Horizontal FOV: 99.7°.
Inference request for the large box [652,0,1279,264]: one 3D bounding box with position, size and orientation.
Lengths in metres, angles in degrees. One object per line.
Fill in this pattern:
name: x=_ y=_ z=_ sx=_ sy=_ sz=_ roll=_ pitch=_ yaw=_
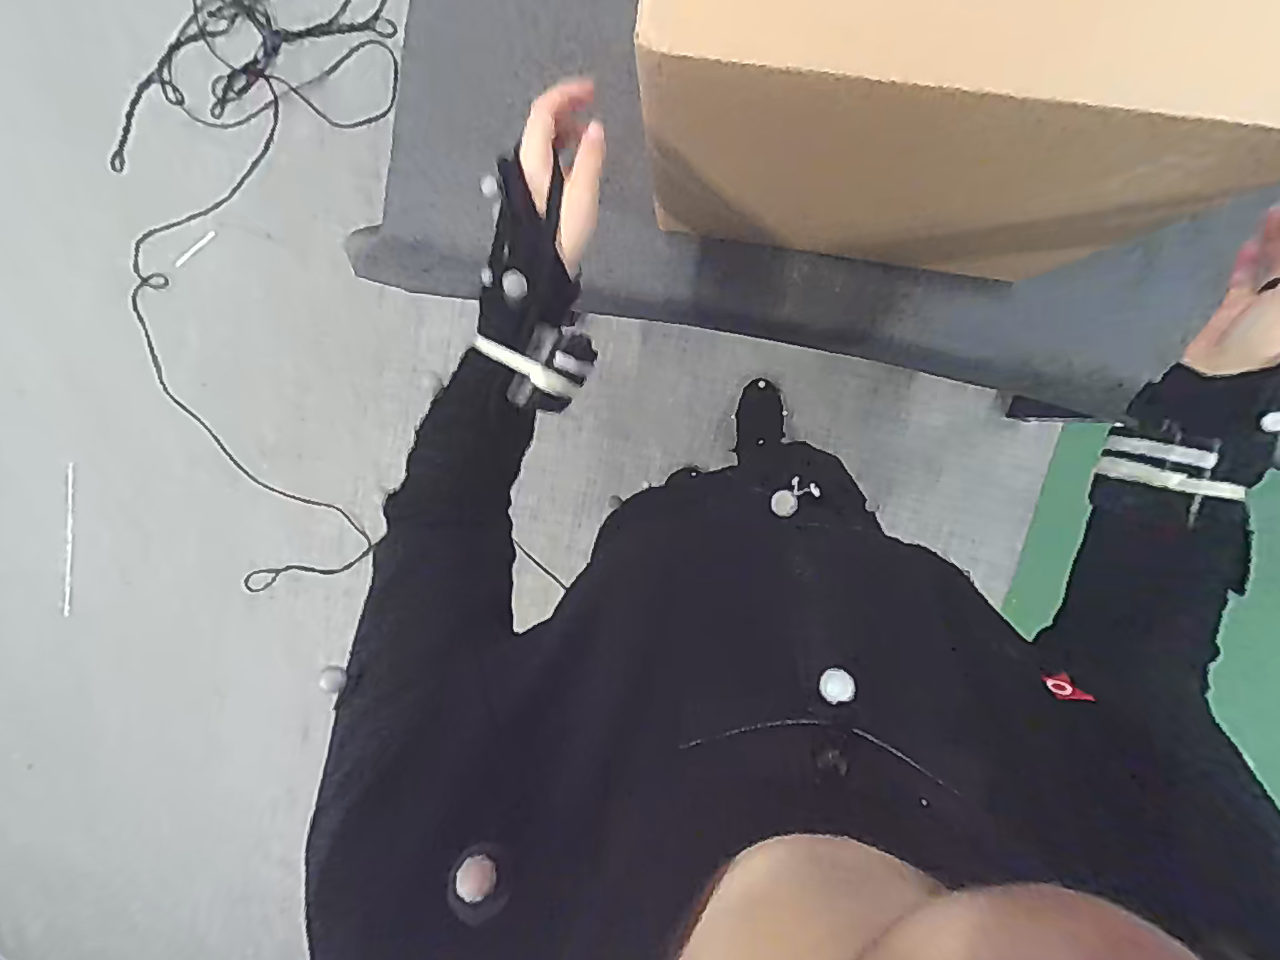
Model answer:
large box: x=0.227 y=-0.392 z=0.434 sx=0.408 sy=0.320 sz=0.320 roll=9 pitch=98 yaw=2
